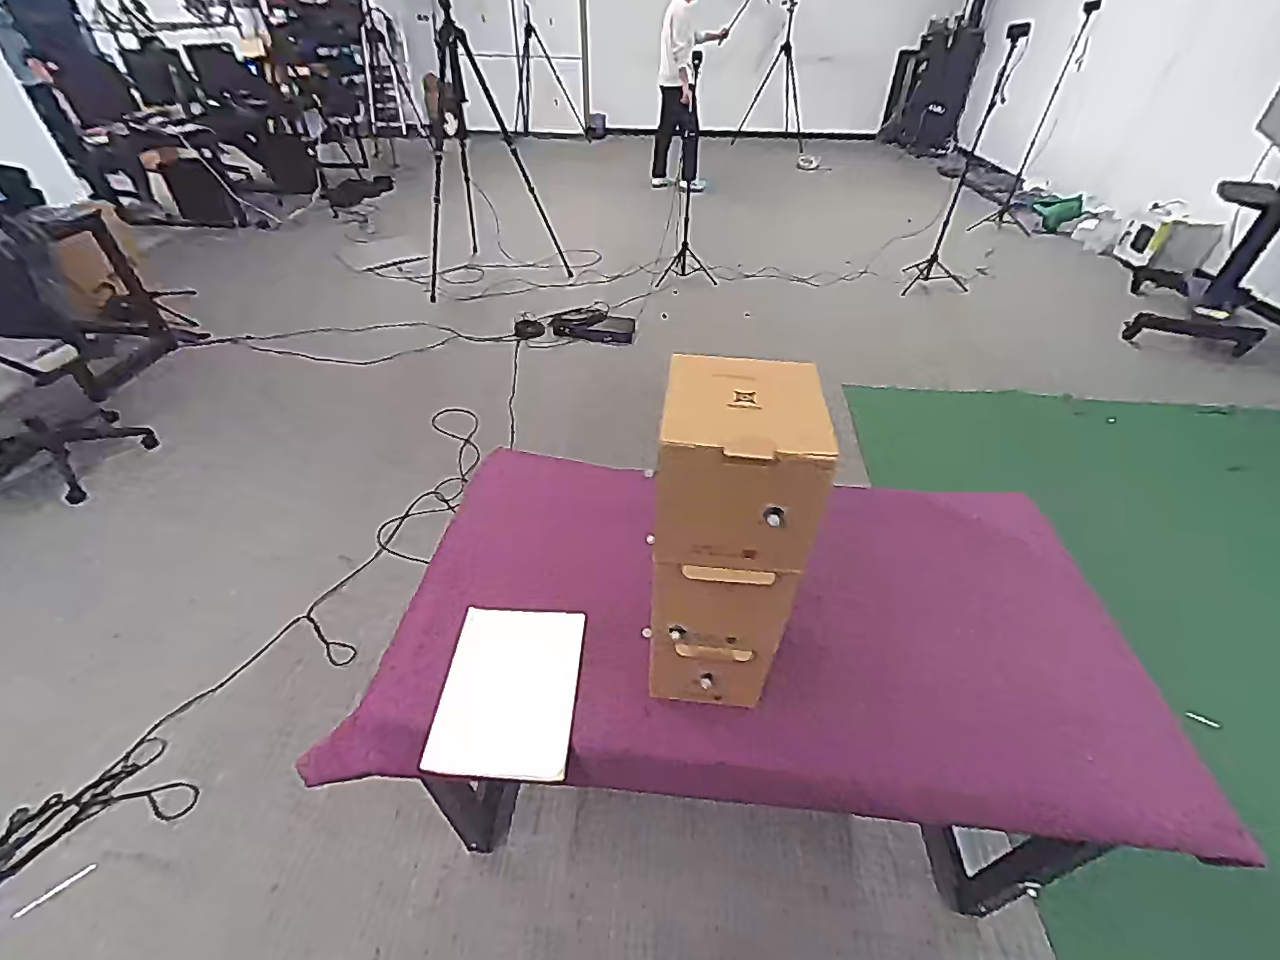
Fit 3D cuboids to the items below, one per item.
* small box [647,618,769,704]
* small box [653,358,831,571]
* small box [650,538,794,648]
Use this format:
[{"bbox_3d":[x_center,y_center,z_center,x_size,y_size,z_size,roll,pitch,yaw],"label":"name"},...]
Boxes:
[{"bbox_3d":[0.100,0.223,0.837,0.168,0.176,0.179,5,42,4],"label":"small box"},{"bbox_3d":[0.105,-0.018,0.614,0.168,0.176,0.179,6,41,4],"label":"small box"},{"bbox_3d":[0.103,0.102,0.724,0.168,0.176,0.179,5,40,4],"label":"small box"}]
